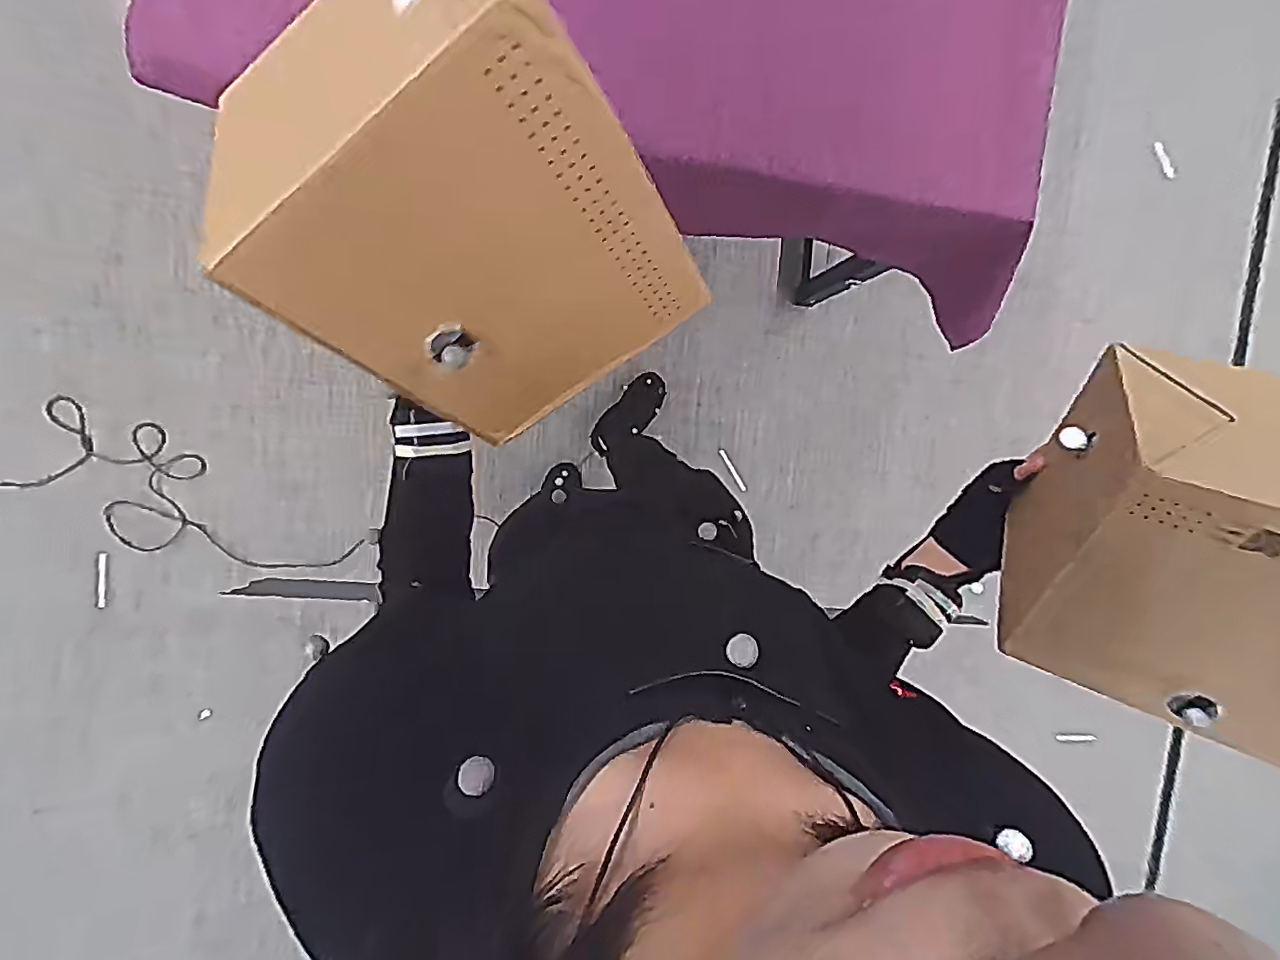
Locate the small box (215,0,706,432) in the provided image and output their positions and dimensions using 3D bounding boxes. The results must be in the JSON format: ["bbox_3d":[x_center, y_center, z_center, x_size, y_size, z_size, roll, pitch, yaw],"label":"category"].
[{"bbox_3d":[-0.086,-0.163,0.301,0.176,0.179,0.168,-33,57,12],"label":"small box"}]

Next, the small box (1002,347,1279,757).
[{"bbox_3d":[0.364,0.030,0.344,0.168,0.179,0.176,22,135,23],"label":"small box"}]
